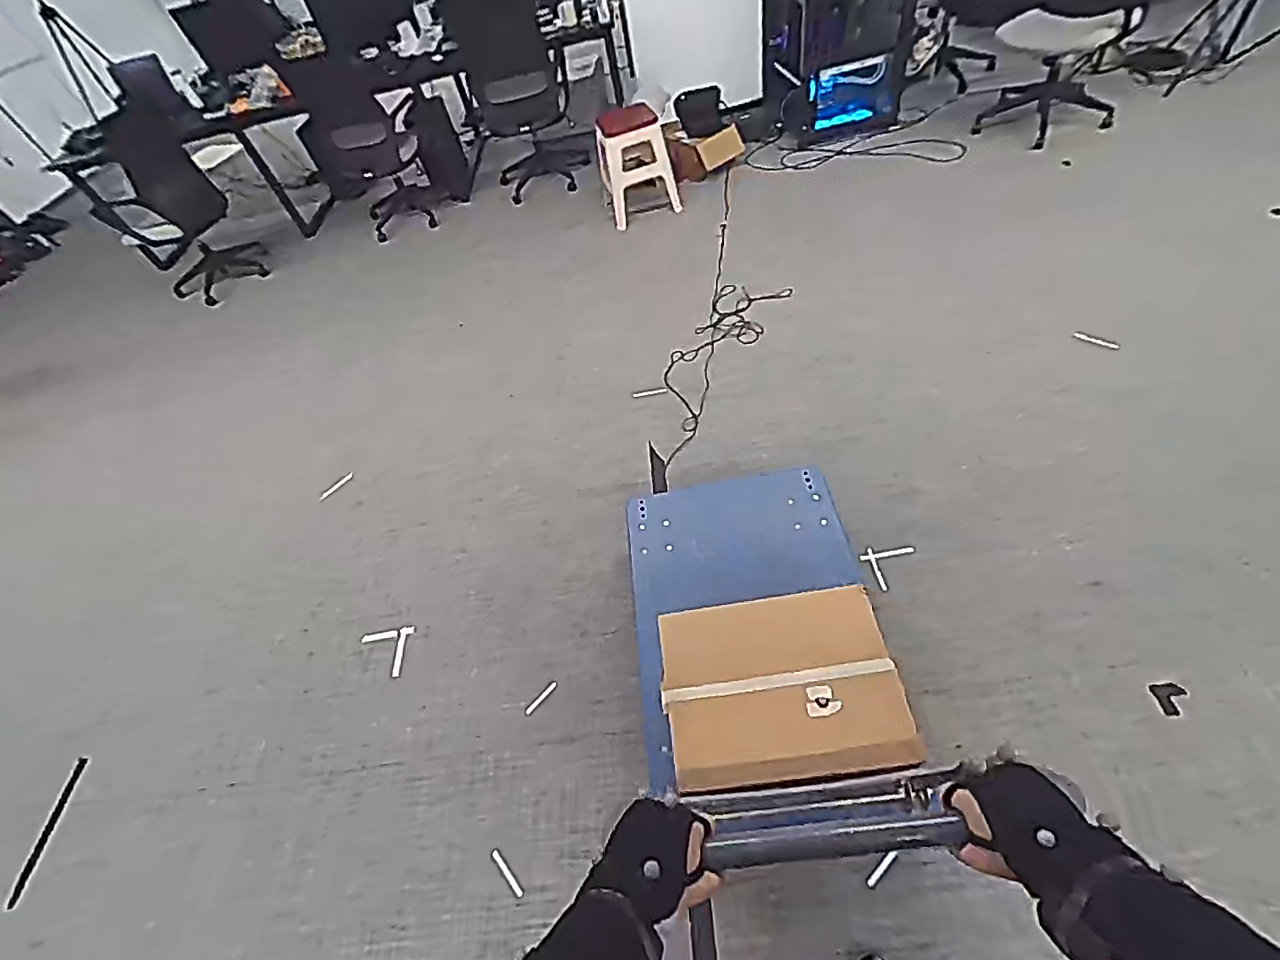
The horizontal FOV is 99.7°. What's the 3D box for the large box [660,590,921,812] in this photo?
[{"bbox_3d":[0.274,0.459,1.097,0.408,0.320,0.320,-10,54,5],"label":"large box"}]
